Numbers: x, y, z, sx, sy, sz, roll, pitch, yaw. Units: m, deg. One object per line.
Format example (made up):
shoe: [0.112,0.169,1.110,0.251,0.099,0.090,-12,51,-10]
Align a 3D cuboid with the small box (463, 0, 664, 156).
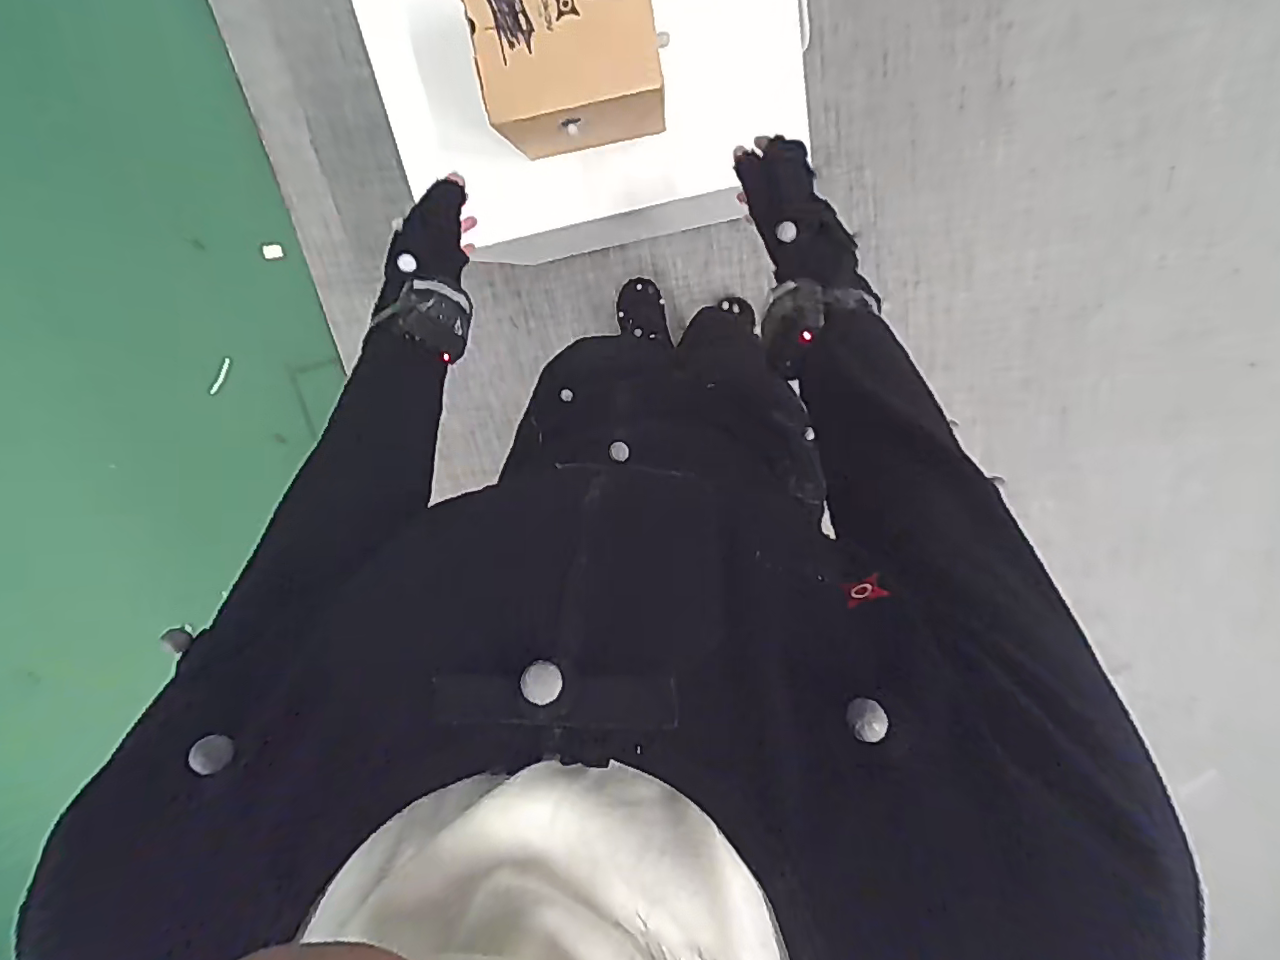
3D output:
small box: [-0.072,-0.467,0.577,0.179,0.176,0.168,-8,109,6]
